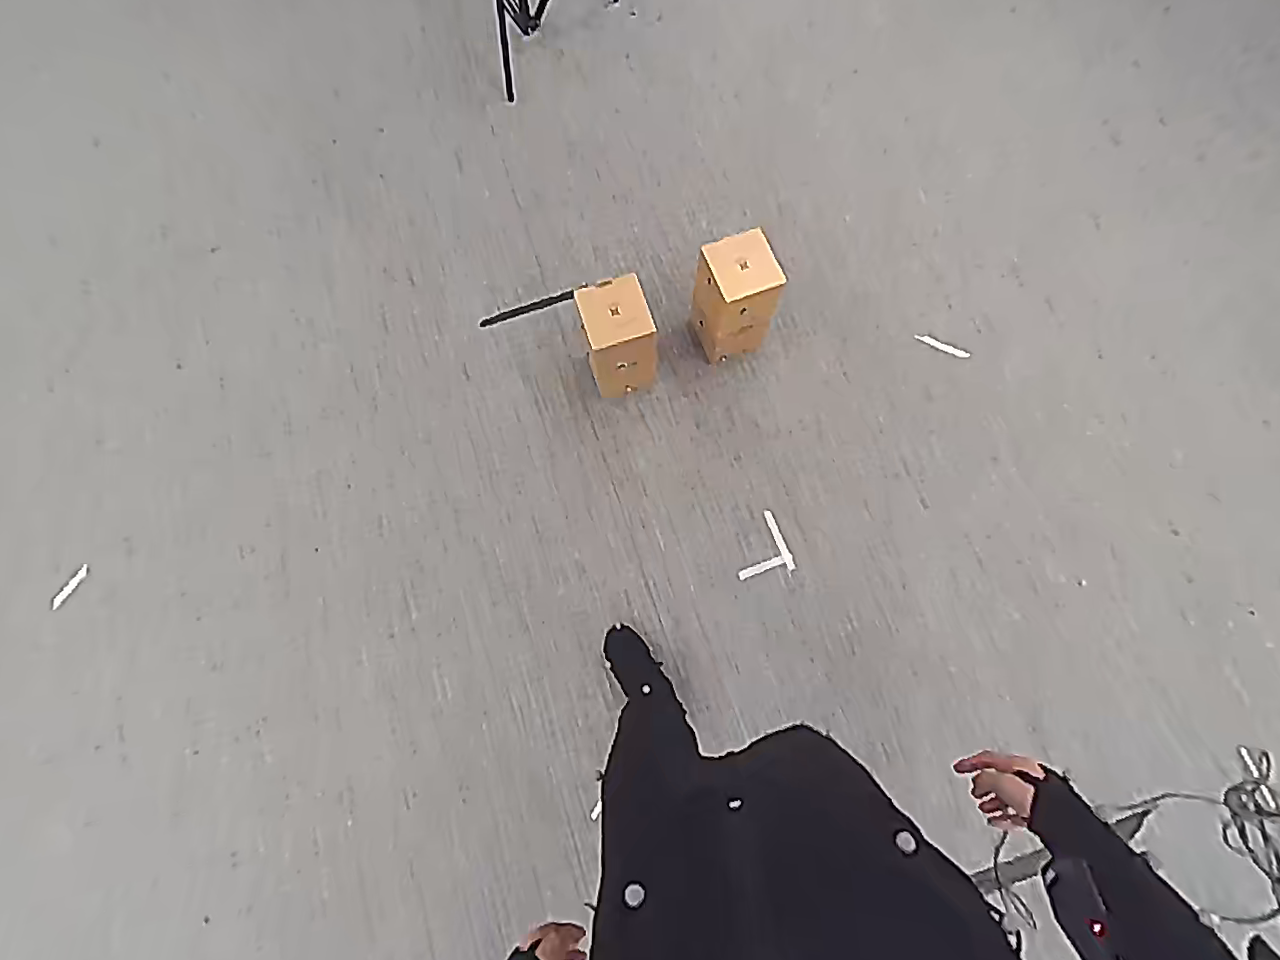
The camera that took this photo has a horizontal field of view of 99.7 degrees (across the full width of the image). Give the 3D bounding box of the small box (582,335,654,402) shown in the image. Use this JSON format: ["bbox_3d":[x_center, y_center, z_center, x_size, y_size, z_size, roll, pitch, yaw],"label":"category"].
[{"bbox_3d":[-0.064,-0.349,1.547,0.168,0.176,0.179,-18,76,-4],"label":"small box"}]

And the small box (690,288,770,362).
[{"bbox_3d":[0.255,-0.465,1.574,0.168,0.176,0.179,-21,75,-5],"label":"small box"}]

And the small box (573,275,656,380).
[{"bbox_3d":[-0.062,-0.386,1.387,0.168,0.176,0.179,-18,75,-3],"label":"small box"}]

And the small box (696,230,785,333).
[{"bbox_3d":[0.256,-0.508,1.417,0.168,0.176,0.179,-20,75,-5],"label":"small box"}]
